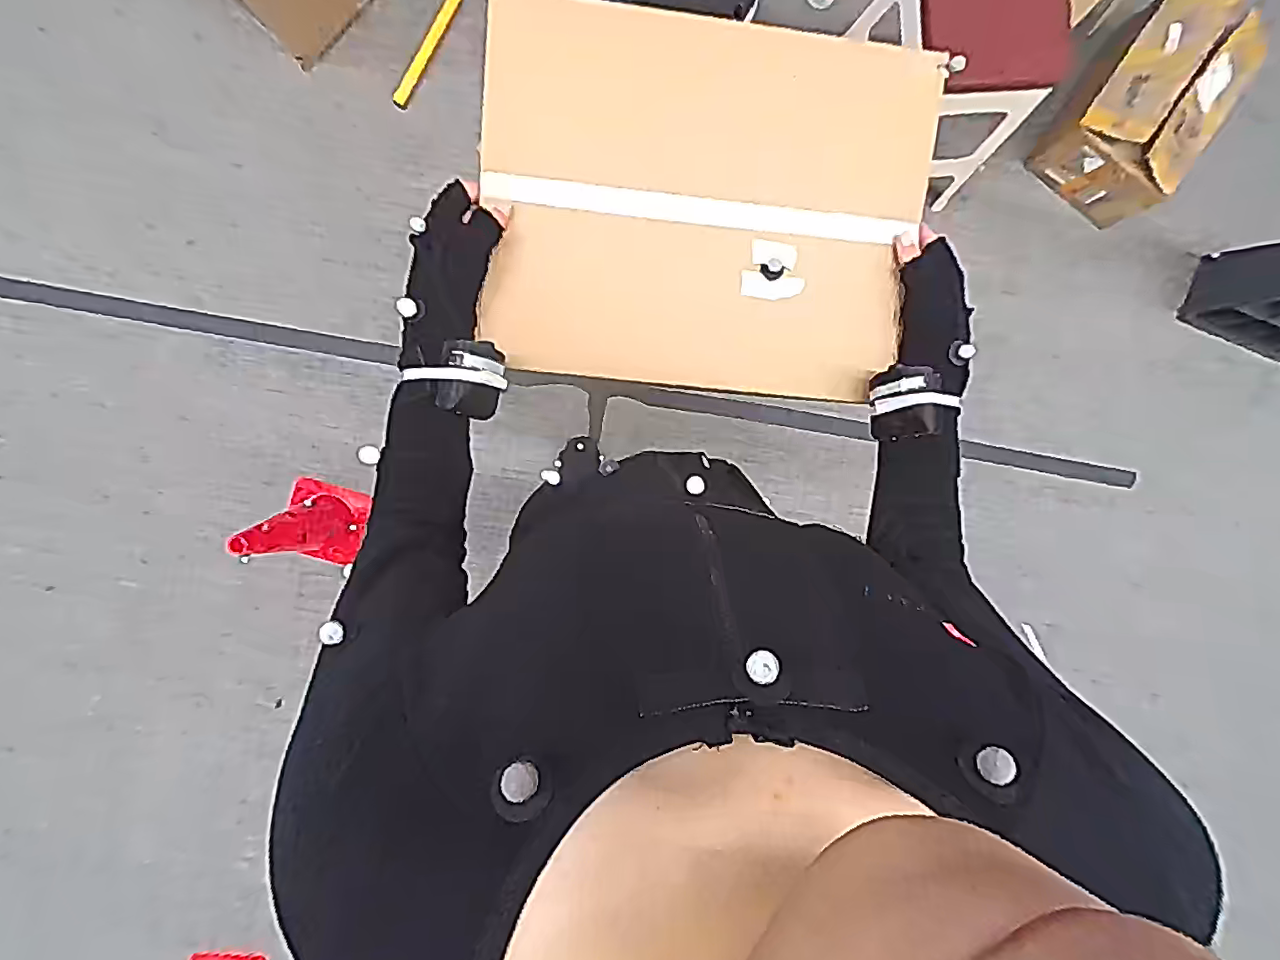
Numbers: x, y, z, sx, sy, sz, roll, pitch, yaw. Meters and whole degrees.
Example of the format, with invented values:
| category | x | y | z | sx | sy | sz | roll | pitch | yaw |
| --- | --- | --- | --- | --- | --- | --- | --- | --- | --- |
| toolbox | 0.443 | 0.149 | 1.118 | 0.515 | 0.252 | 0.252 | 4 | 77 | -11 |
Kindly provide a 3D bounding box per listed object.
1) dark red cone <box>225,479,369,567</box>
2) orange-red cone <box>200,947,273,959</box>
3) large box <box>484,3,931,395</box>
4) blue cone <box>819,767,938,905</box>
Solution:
| category | x | y | z | sx | sy | sz | roll | pitch | yaw |
| --- | --- | --- | --- | --- | --- | --- | --- | --- | --- |
| dark red cone | -0.799 | 0.118 | 1.229 | 0.201 | 0.394 | 0.202 | 15 | 92 | -6 |
| orange-red cone | -1.092 | 1.384 | 1.299 | 0.198 | 0.360 | 0.199 | 7 | 94 | -4 |
| large box | 0.048 | -0.271 | 0.648 | 0.408 | 0.320 | 0.320 | 5 | 100 | -5 |
| blue cone | 0.639 | 0.946 | 1.420 | 0.192 | 0.380 | 0.193 | 13 | 92 | -6 |
